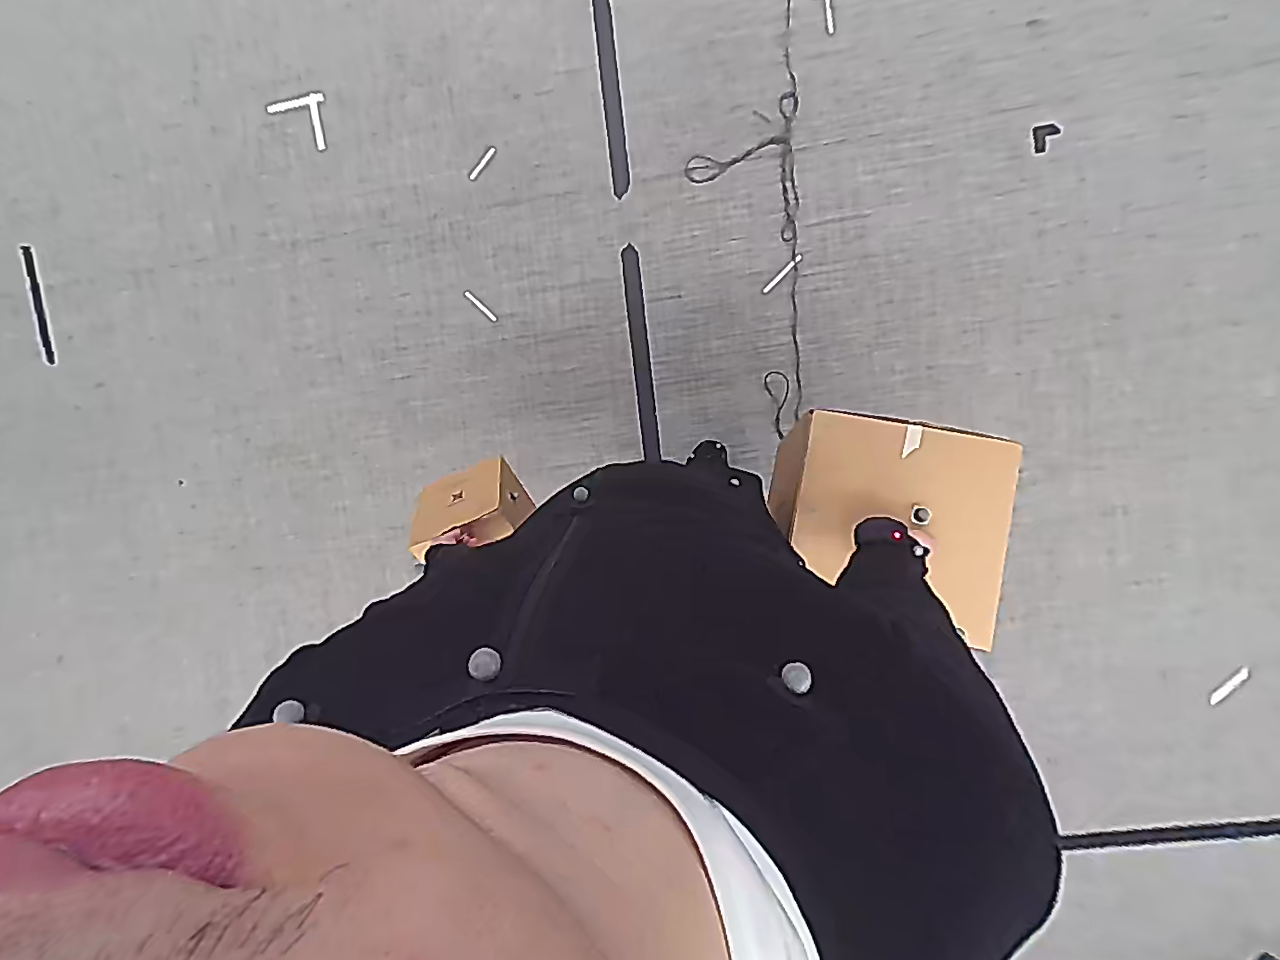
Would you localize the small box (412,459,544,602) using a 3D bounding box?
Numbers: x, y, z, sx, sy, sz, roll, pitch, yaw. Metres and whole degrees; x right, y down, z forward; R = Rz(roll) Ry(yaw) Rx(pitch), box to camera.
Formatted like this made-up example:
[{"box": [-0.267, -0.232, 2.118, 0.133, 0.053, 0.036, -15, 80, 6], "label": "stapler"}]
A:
[{"box": [-0.285, 0.098, 0.988, 0.168, 0.179, 0.176, -23, 124, 3], "label": "small box"}]
